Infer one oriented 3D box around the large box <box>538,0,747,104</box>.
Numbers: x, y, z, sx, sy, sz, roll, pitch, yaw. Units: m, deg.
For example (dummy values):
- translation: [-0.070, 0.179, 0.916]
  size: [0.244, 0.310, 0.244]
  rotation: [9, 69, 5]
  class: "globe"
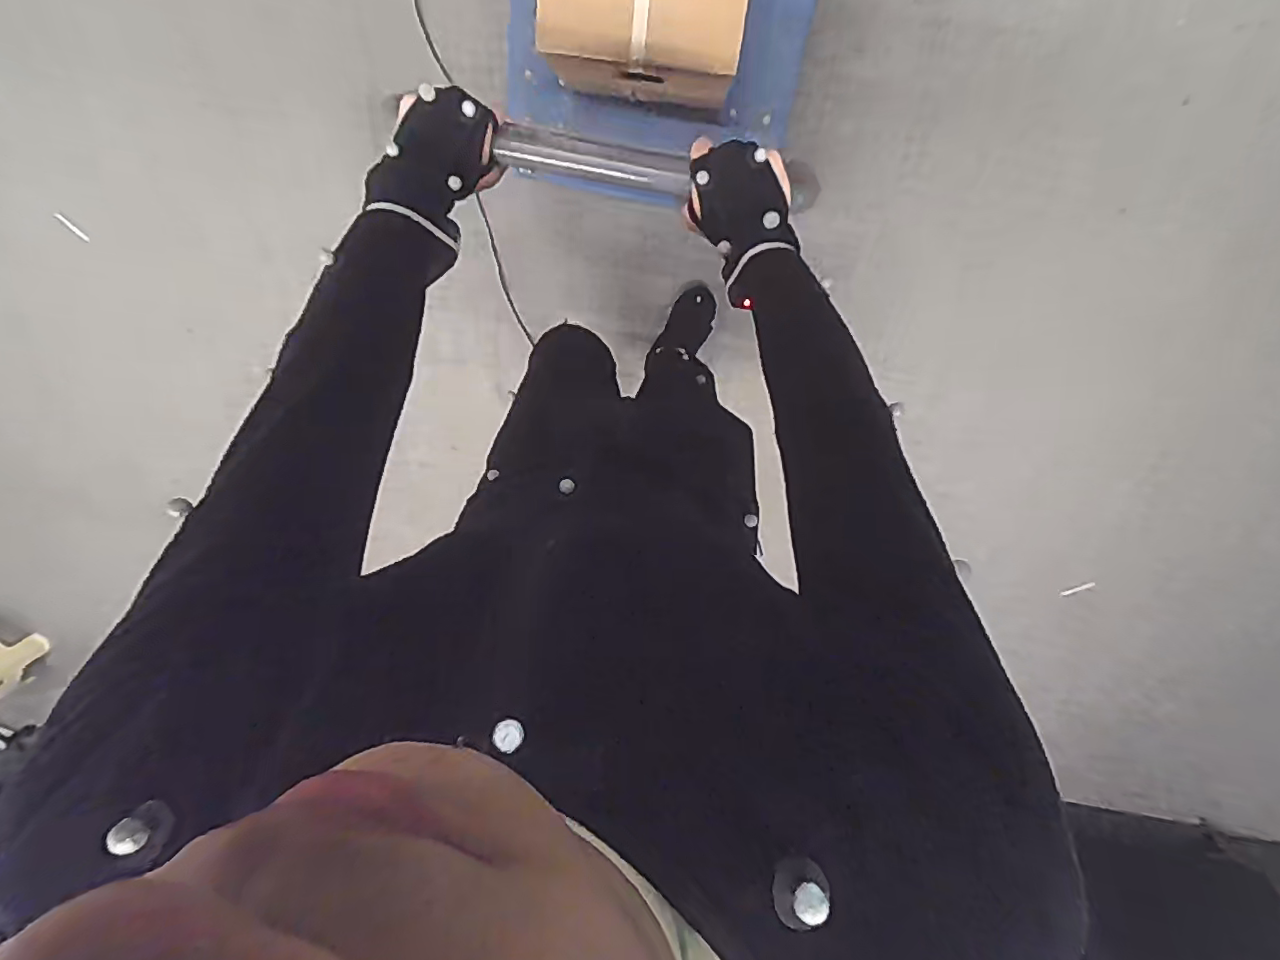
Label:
- translation: [0.027, -0.888, 0.881]
  size: [0.320, 0.320, 0.408]
  rotation: [8, 117, 1]
  class: "large box"
